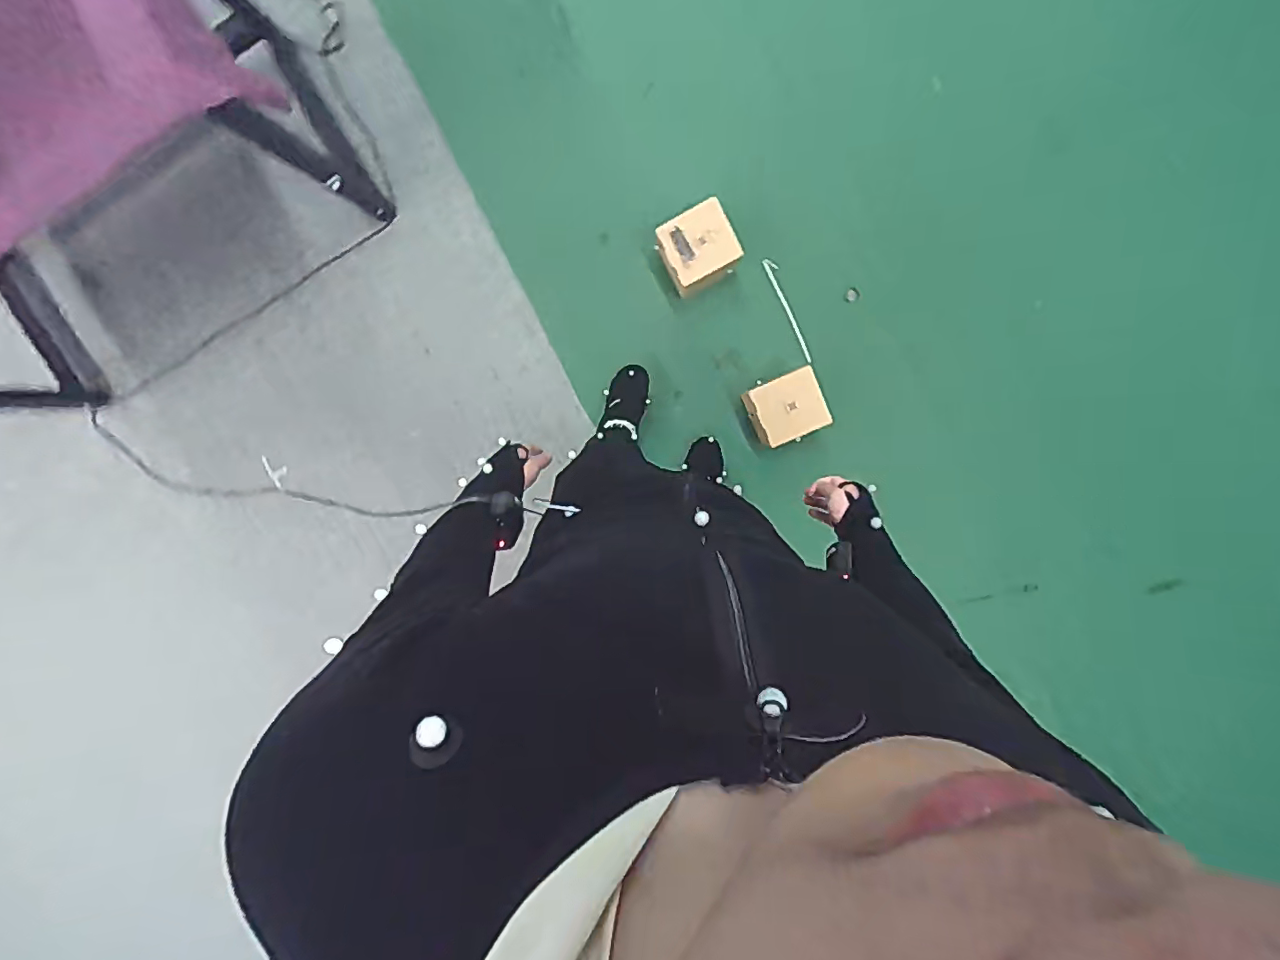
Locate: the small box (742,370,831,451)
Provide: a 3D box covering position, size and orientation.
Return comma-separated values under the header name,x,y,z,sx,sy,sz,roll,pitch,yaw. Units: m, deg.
name,x,y,z,sx,sy,sz,roll,pitch,yaw
small box,0.399,-0.194,1.500,0.179,0.176,0.168,-23,96,7
